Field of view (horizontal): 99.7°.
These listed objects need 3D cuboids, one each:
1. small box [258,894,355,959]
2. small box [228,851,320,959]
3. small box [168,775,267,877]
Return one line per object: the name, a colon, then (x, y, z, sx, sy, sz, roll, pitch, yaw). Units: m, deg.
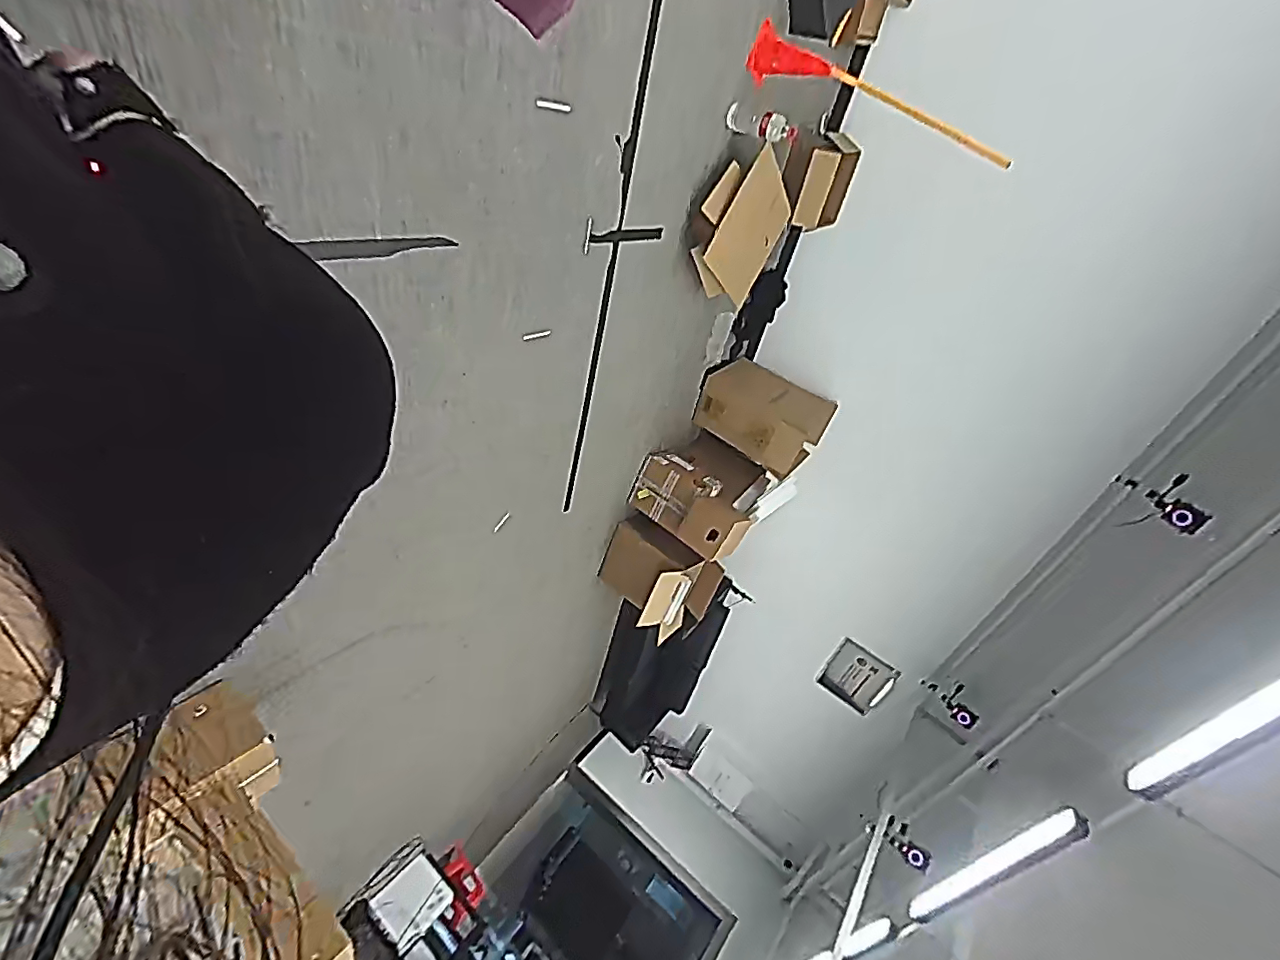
small box: (-0.921, 1.311, 1.491, 0.179, 0.176, 0.168, -30, 144, -49)
small box: (-1.047, 1.229, 1.552, 0.179, 0.176, 0.168, -30, 145, -48)
small box: (-1.304, 1.064, 1.674, 0.179, 0.176, 0.168, -32, 146, -45)
